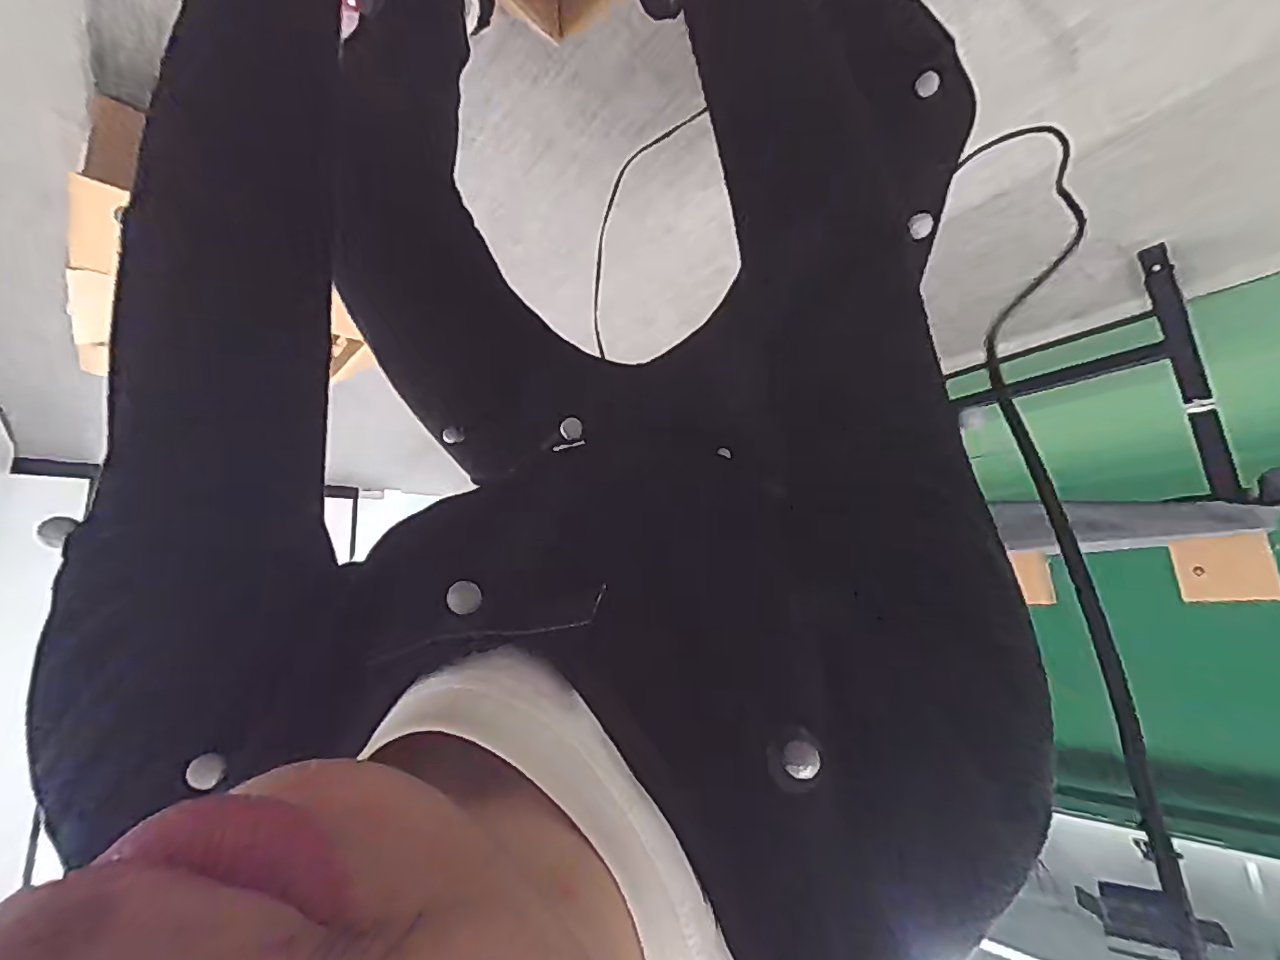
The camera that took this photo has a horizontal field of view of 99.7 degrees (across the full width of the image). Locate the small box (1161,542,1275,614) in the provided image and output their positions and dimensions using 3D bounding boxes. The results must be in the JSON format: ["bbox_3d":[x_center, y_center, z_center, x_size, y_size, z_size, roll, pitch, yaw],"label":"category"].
[{"bbox_3d":[1.500,0.258,1.410,0.168,0.176,0.179,7,163,-39],"label":"small box"}]

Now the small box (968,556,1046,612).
[{"bbox_3d":[1.201,0.341,1.771,0.179,0.176,0.168,-14,161,39],"label":"small box"}]
